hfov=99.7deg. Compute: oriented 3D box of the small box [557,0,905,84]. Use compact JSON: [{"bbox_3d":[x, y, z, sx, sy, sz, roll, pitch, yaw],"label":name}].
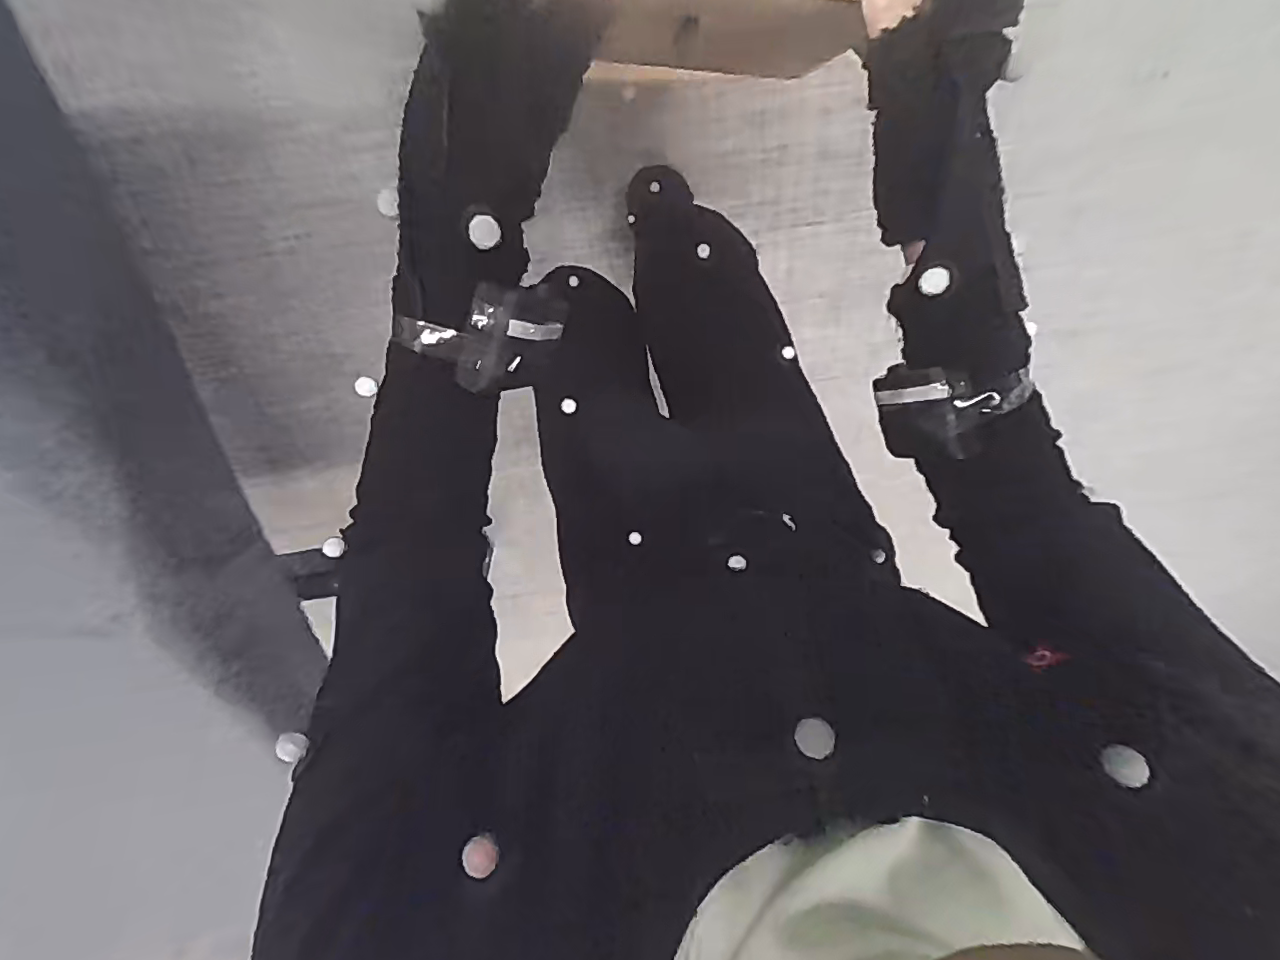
[{"bbox_3d":[0.042,-0.336,0.291,0.179,0.176,0.168,2,116,-7],"label":"small box"}]
